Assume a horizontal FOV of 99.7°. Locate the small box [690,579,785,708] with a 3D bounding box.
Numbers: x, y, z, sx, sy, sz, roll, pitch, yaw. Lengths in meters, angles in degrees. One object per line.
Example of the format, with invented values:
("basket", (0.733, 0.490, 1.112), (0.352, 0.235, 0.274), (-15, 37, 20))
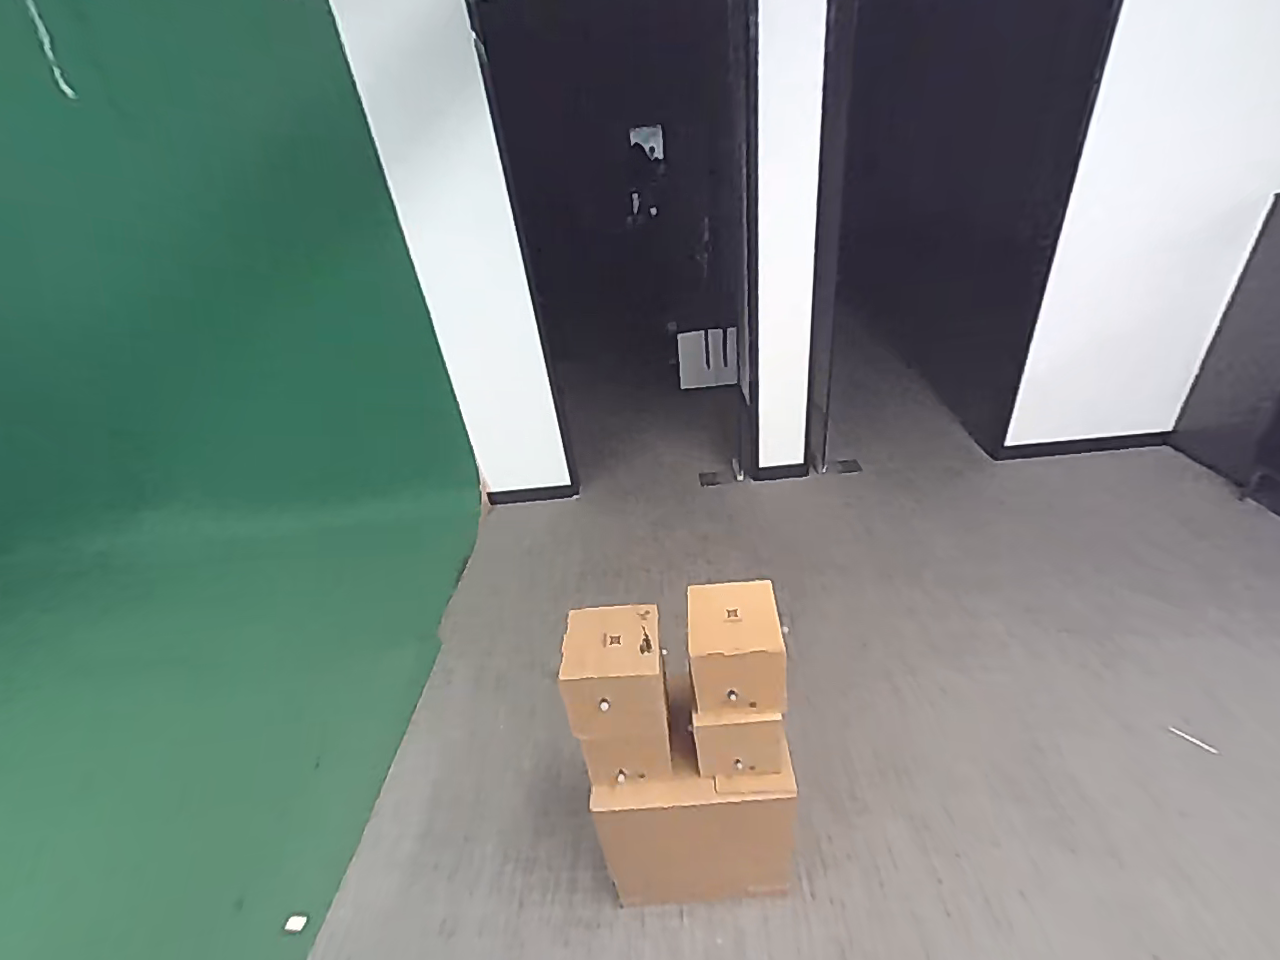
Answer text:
("small box", (0.183, 0.313, 1.045), (0.168, 0.176, 0.179), (-4, 32, 7))
